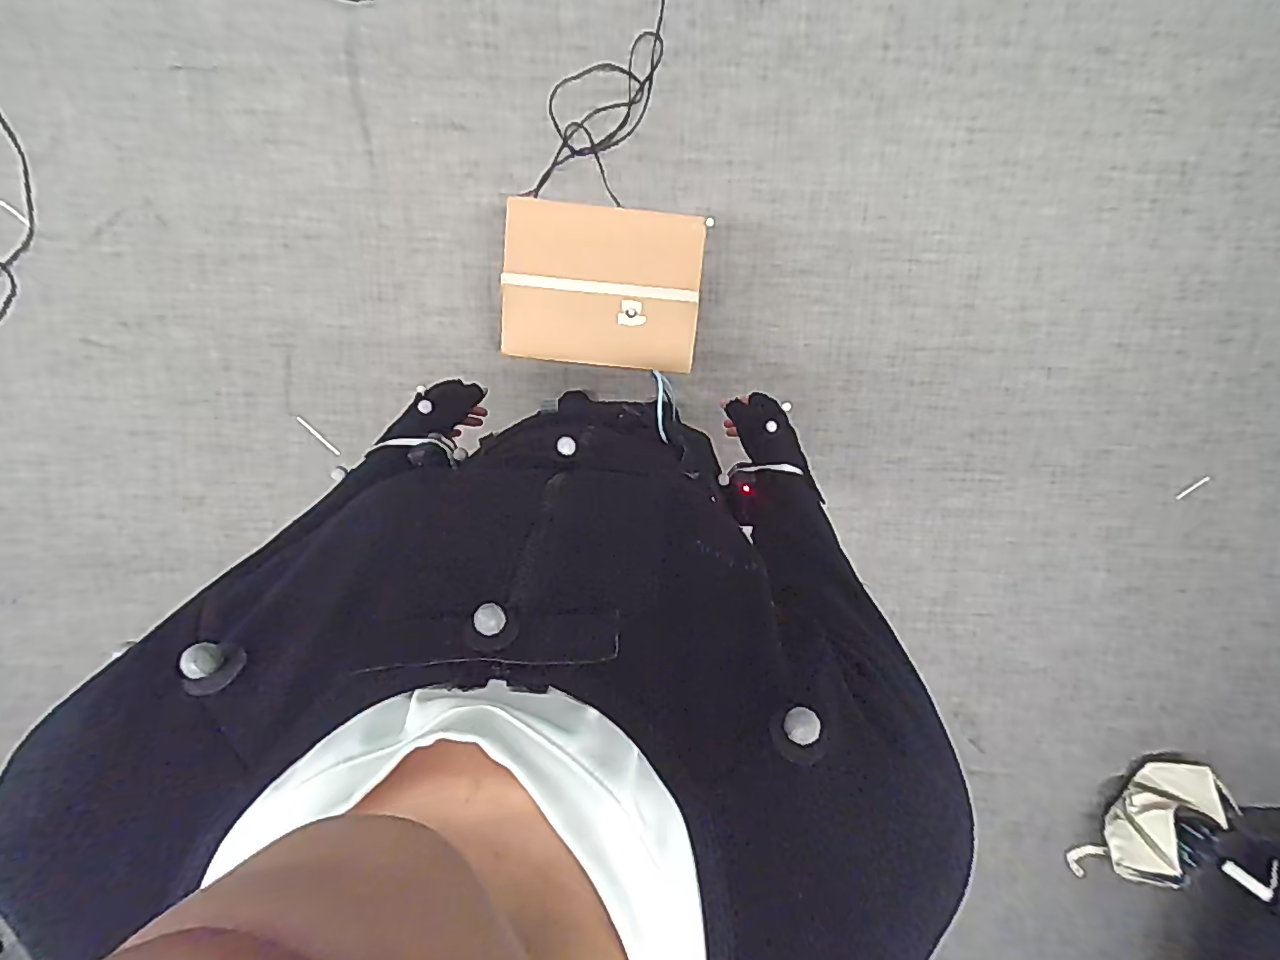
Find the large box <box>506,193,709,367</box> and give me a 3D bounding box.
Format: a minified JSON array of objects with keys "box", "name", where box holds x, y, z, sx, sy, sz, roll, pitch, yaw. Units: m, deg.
[{"box":[-0.074,-0.433,1.250,0.408,0.320,0.320,5,102,-1],"name":"large box"}]
